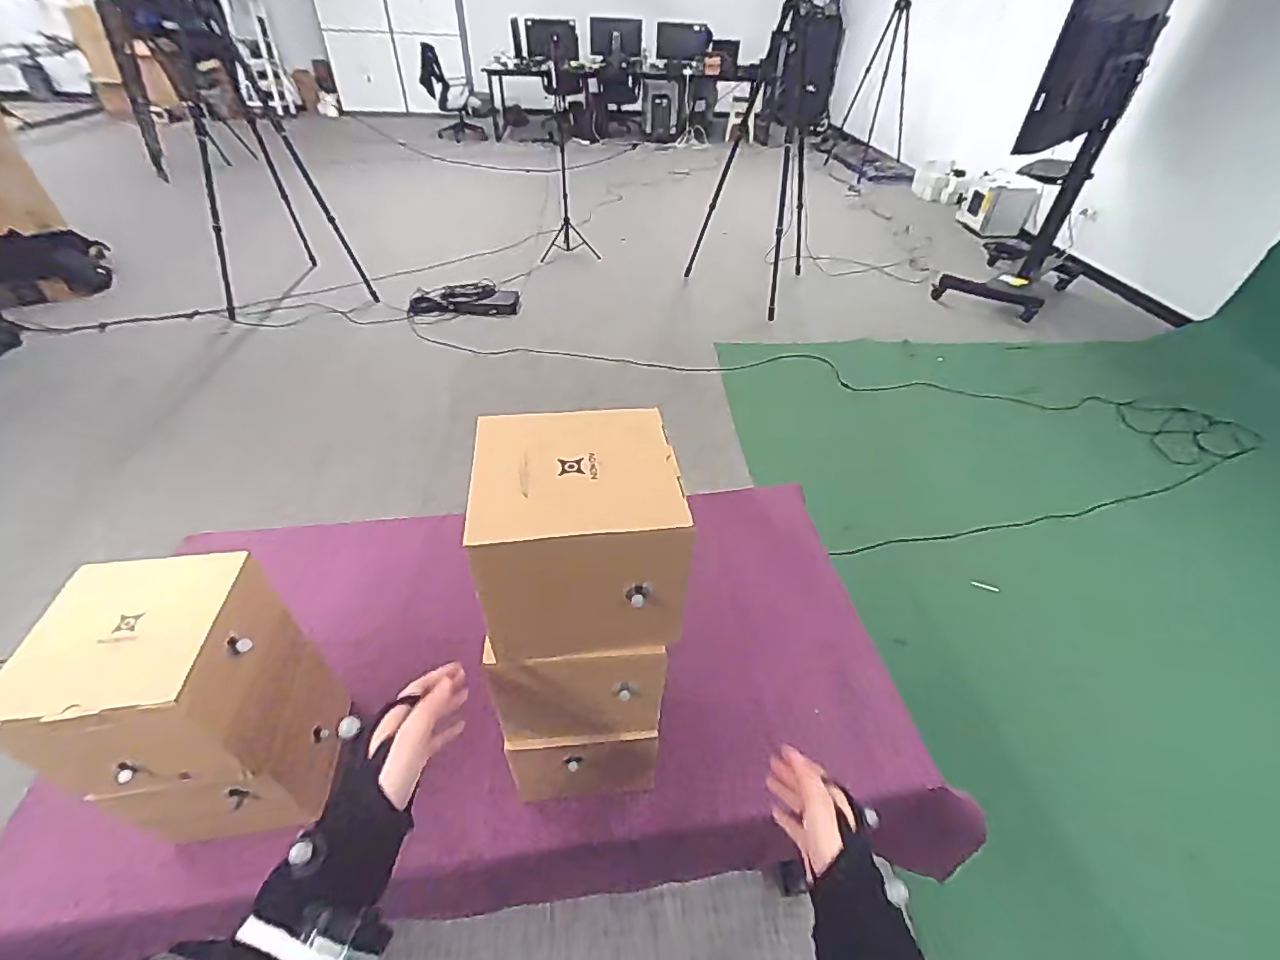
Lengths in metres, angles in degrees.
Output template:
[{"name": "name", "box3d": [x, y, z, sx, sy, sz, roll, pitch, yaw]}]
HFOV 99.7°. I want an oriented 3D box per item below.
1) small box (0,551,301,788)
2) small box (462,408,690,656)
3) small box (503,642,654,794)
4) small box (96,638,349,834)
[{"name": "small box", "box3d": [-0.498, 0.200, 0.581, 0.168, 0.176, 0.179, -4, 44, -7]}, {"name": "small box", "box3d": [-0.059, 0.049, 0.520, 0.179, 0.176, 0.168, -4, 42, -7]}, {"name": "small box", "box3d": [-0.078, 0.303, 0.728, 0.179, 0.176, 0.168, -3, 43, -6]}, {"name": "small box", "box3d": [-0.499, 0.324, 0.688, 0.179, 0.176, 0.168, -4, 42, -7]}]
